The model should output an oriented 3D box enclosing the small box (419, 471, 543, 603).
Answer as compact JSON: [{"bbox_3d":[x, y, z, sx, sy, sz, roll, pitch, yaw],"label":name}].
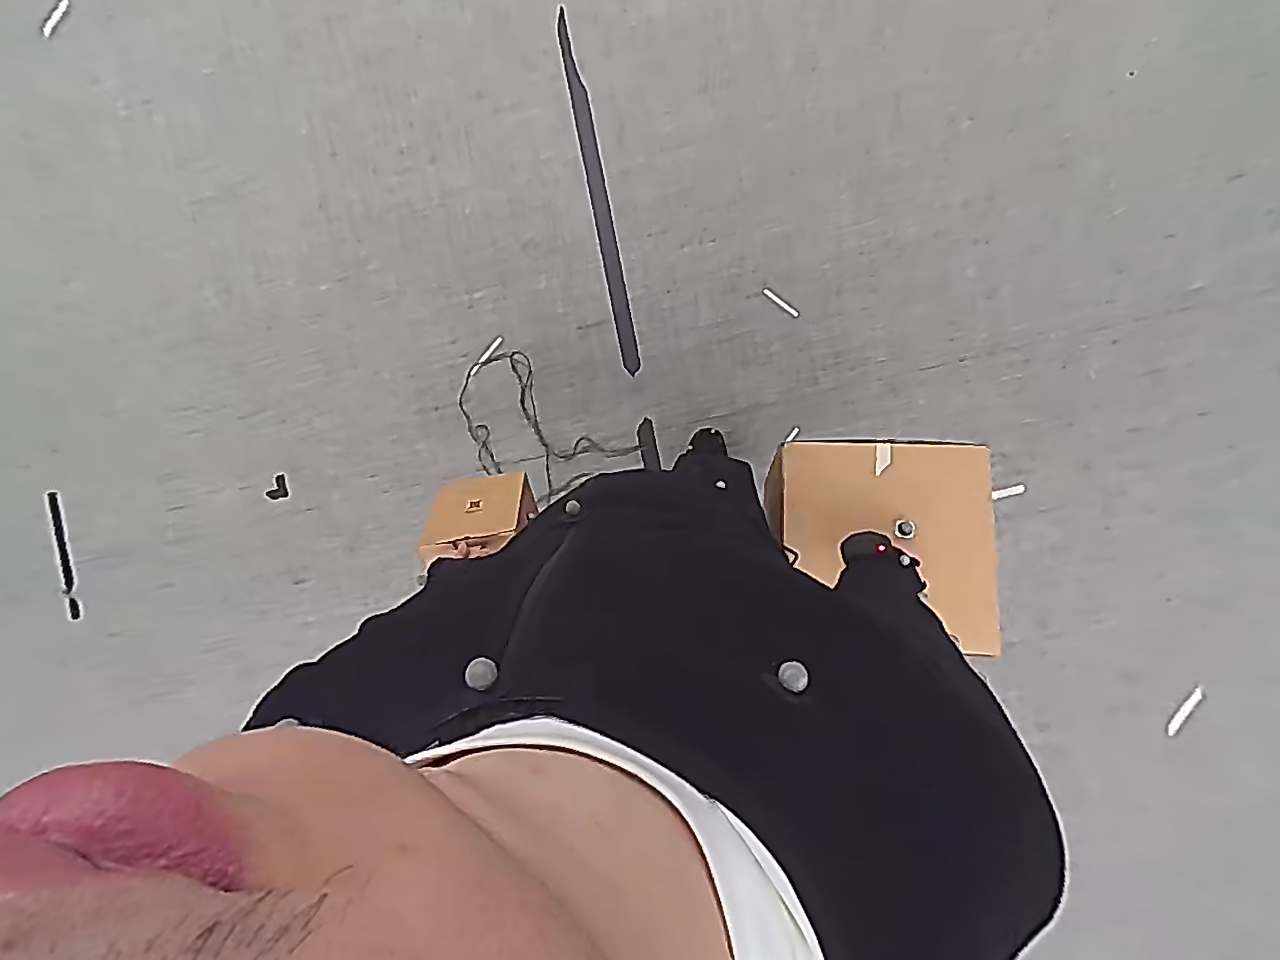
[{"bbox_3d":[-0.281,0.110,1.001,0.168,0.179,0.176,-9,127,0],"label":"small box"}]
